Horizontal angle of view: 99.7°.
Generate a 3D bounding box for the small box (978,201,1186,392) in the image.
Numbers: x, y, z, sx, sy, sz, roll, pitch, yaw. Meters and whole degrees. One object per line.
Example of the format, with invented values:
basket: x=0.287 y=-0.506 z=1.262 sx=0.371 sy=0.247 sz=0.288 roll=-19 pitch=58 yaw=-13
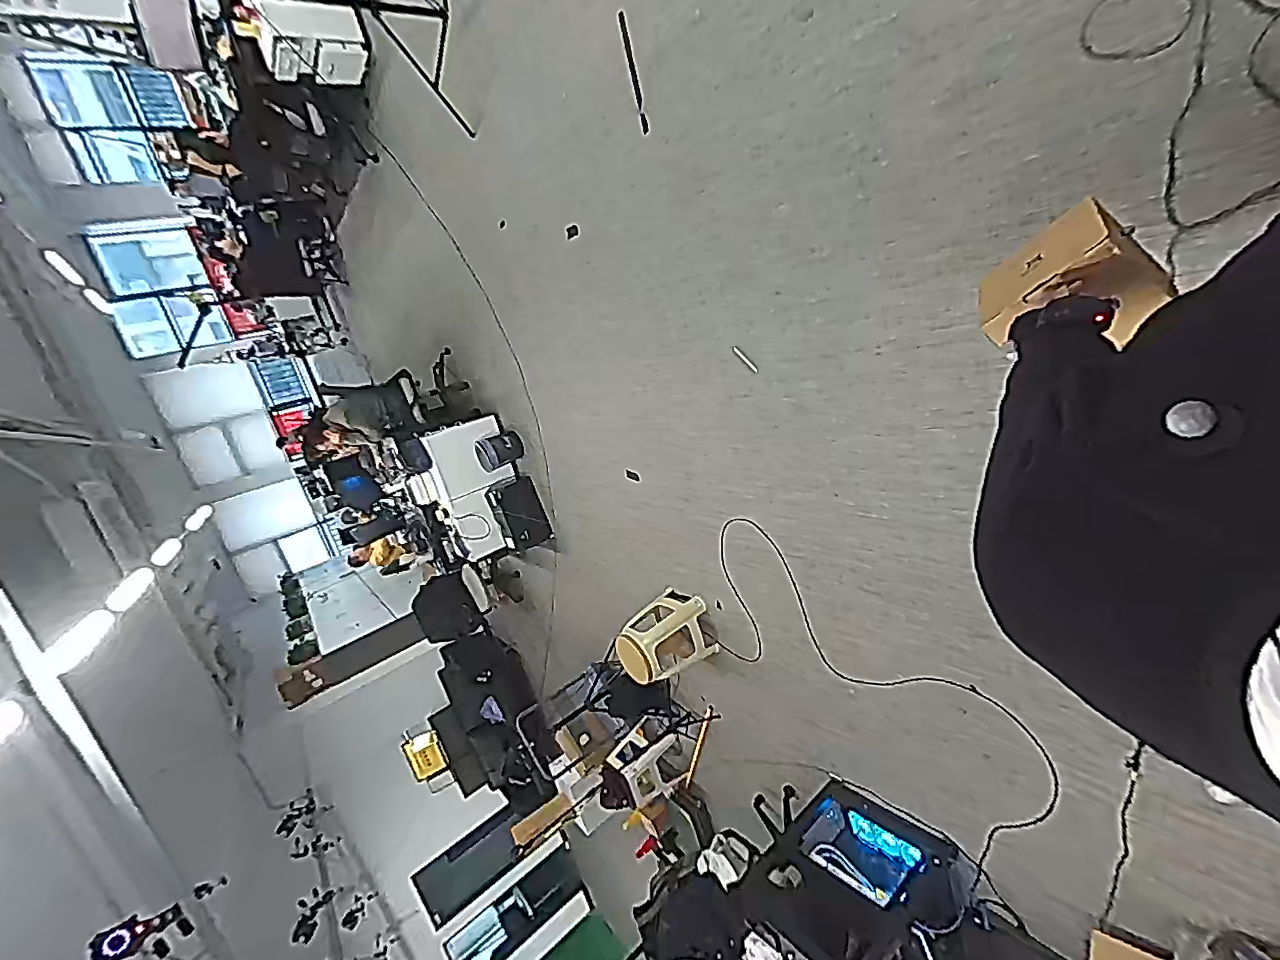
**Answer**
small box: x=0.620 y=-0.252 z=0.773 sx=0.176 sy=0.179 sz=0.168 roll=40 pitch=139 yaw=-6
